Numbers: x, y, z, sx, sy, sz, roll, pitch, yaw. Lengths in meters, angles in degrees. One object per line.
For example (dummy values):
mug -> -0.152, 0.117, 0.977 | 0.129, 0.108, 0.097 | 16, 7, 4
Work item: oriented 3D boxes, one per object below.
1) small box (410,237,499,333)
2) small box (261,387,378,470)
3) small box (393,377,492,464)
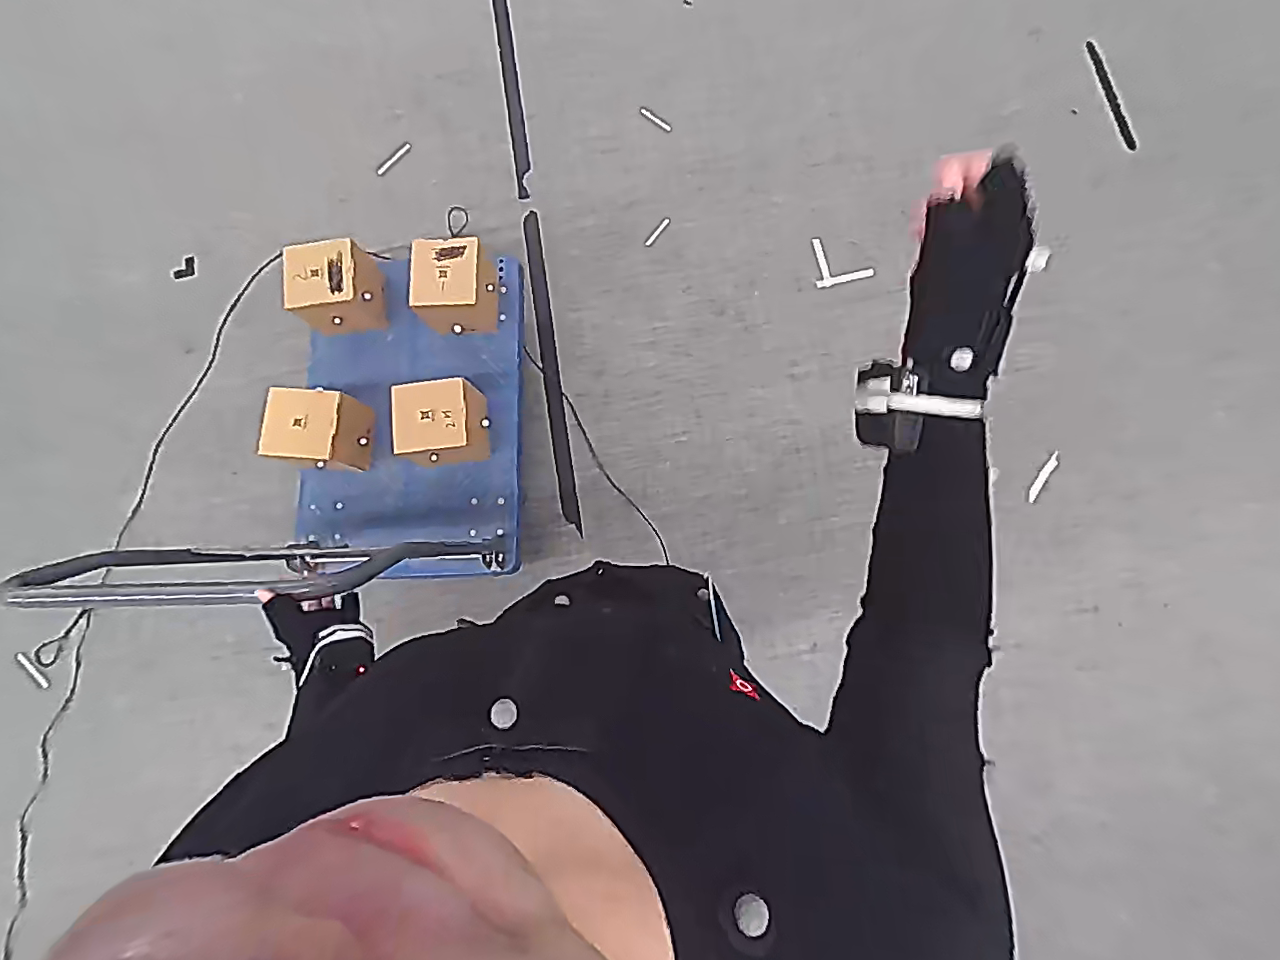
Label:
small box -> -0.465, -0.493, 1.380 | 0.168, 0.176, 0.179 | -1, 82, 3
small box -> -0.786, -0.121, 1.340 | 0.179, 0.176, 0.168 | 3, 81, 2
small box -> -0.479, -0.139, 1.326 | 0.179, 0.176, 0.168 | -7, 81, 2
